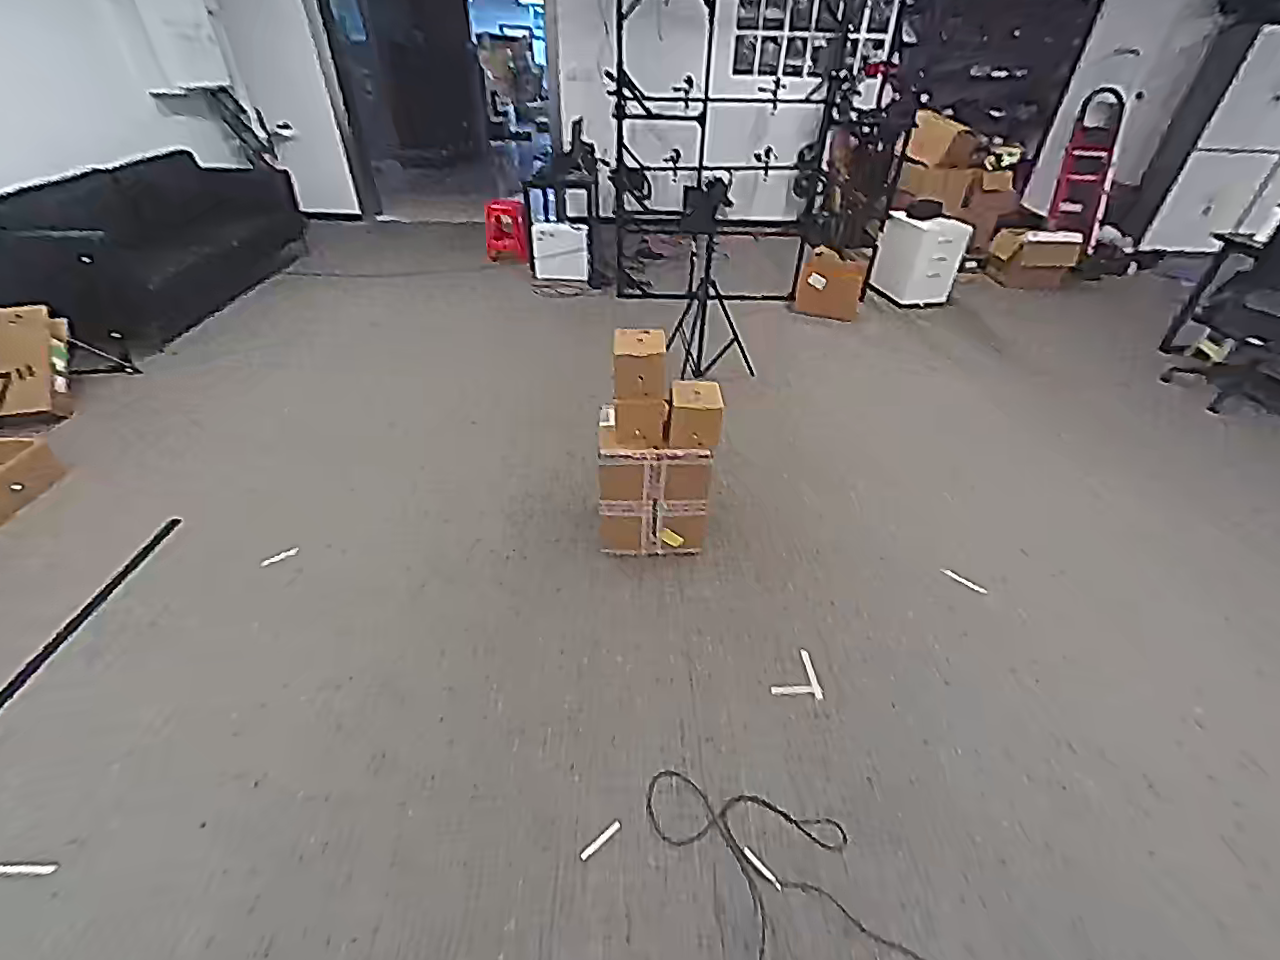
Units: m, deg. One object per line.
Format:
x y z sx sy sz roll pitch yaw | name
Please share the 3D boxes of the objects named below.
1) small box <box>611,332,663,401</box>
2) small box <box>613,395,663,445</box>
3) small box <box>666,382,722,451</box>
-0.008 -0.372 1.789 0.168 0.176 0.179 -1 41 -1 | small box
-0.012 -0.239 1.885 0.168 0.176 0.179 -2 41 -3 | small box
0.181 -0.220 1.868 0.168 0.176 0.179 1 40 -2 | small box
